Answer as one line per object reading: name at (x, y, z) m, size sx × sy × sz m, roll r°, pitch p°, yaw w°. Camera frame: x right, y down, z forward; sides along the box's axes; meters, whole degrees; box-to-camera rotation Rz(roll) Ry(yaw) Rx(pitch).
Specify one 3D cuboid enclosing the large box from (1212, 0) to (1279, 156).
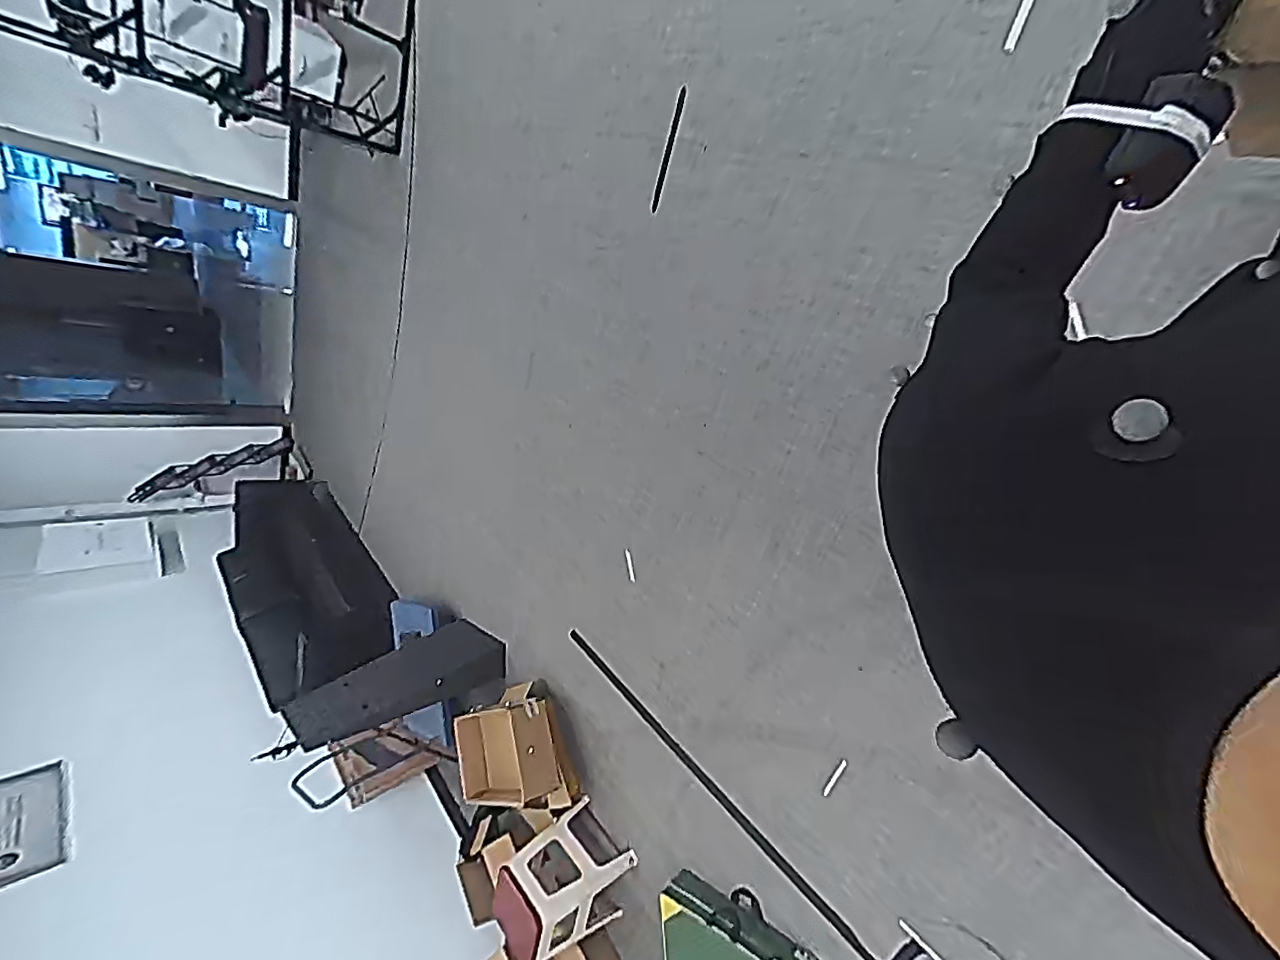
large box at (0.646, -0.376, 0.278) m, size 0.408 × 0.320 × 0.320 m, roll 30°, pitch 123°, yaw 41°
